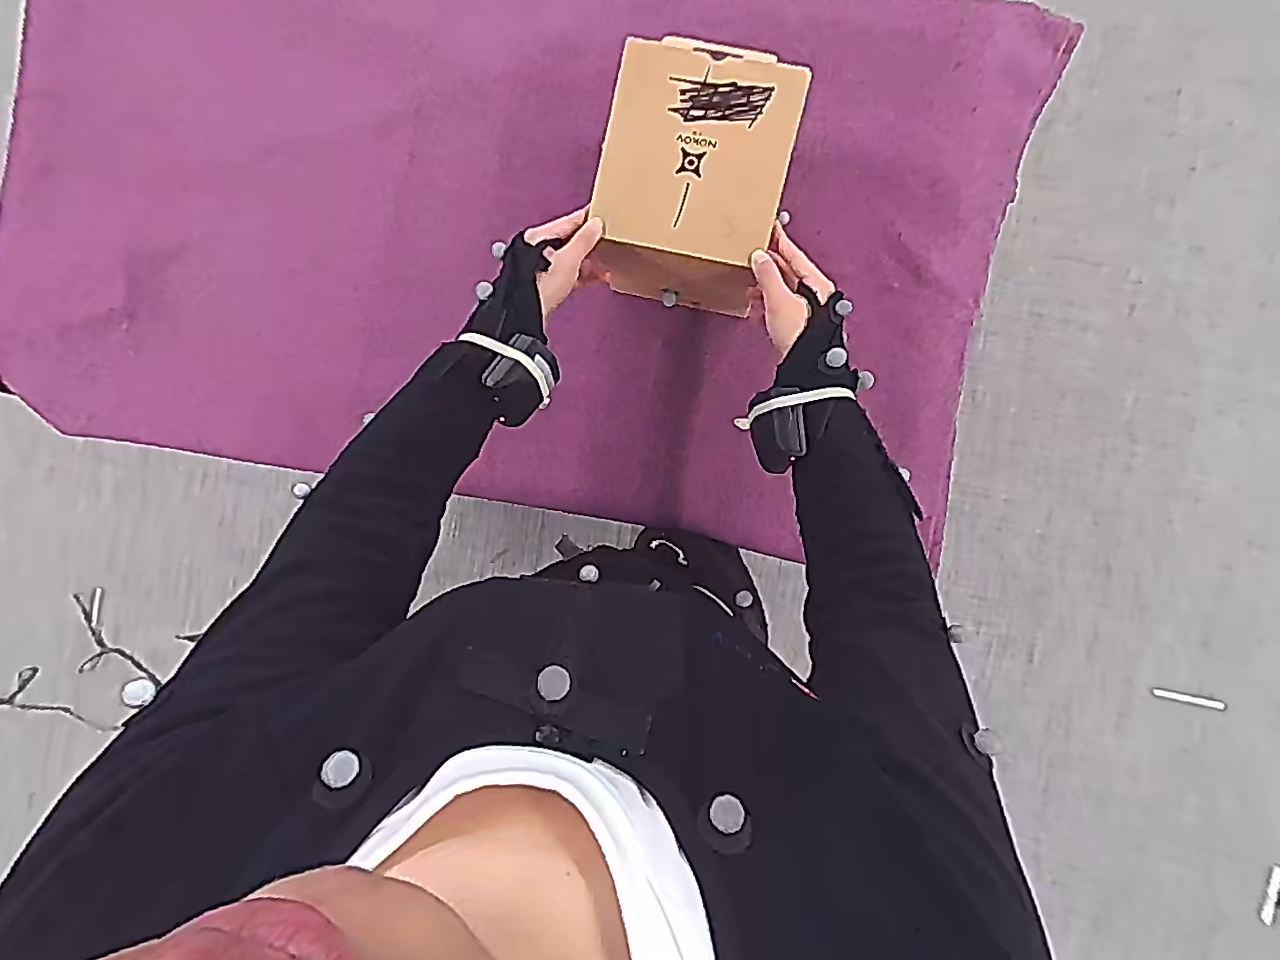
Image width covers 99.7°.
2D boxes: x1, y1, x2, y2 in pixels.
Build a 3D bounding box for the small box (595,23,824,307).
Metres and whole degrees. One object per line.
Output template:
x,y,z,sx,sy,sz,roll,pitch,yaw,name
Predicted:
0.066,-0.297,0.547,0.168,0.176,0.179,14,95,6,small box
